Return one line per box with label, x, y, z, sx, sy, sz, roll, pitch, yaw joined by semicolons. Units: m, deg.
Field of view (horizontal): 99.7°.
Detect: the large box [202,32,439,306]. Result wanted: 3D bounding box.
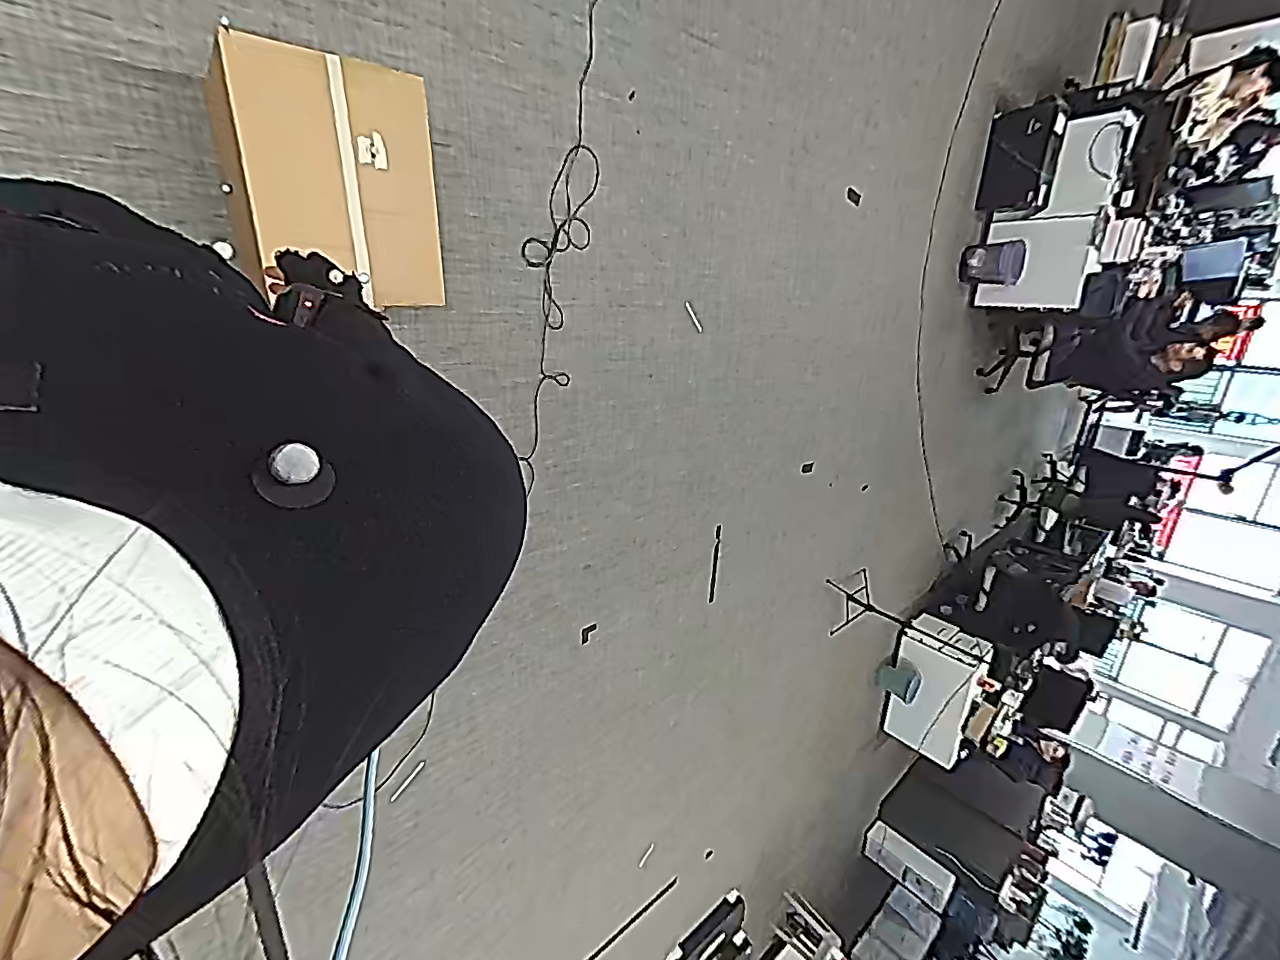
large box;-0.635;-0.567;1.088;0.320;0.320;0.408;-16;114;-39
